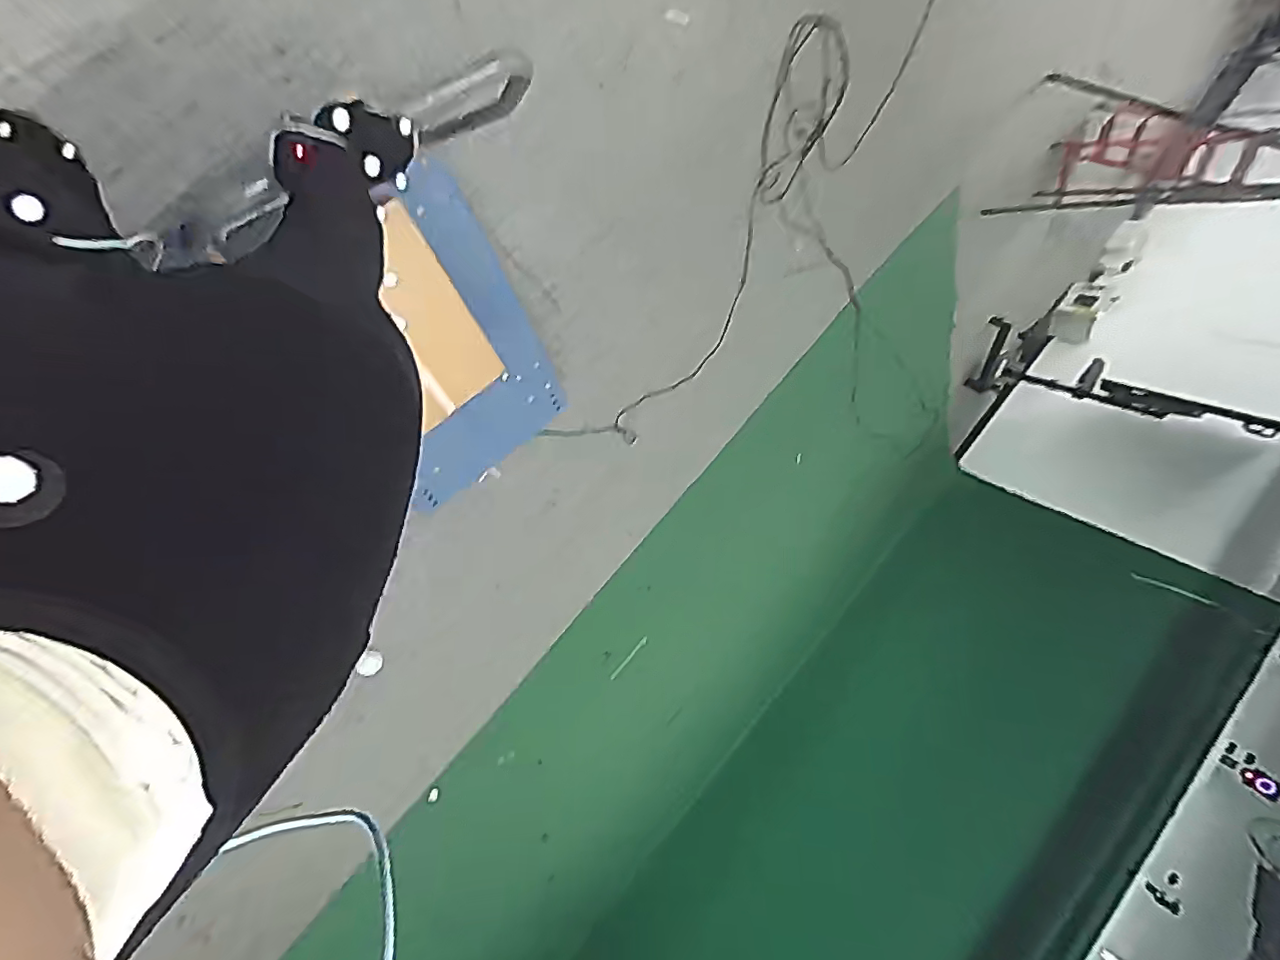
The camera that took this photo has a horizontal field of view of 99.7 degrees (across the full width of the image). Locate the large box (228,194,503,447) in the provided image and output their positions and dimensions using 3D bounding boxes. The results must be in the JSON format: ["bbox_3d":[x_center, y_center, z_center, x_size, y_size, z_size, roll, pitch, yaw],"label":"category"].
[{"bbox_3d":[-0.584,-0.351,1.182,0.320,0.320,0.408,-42,135,-16],"label":"large box"}]
